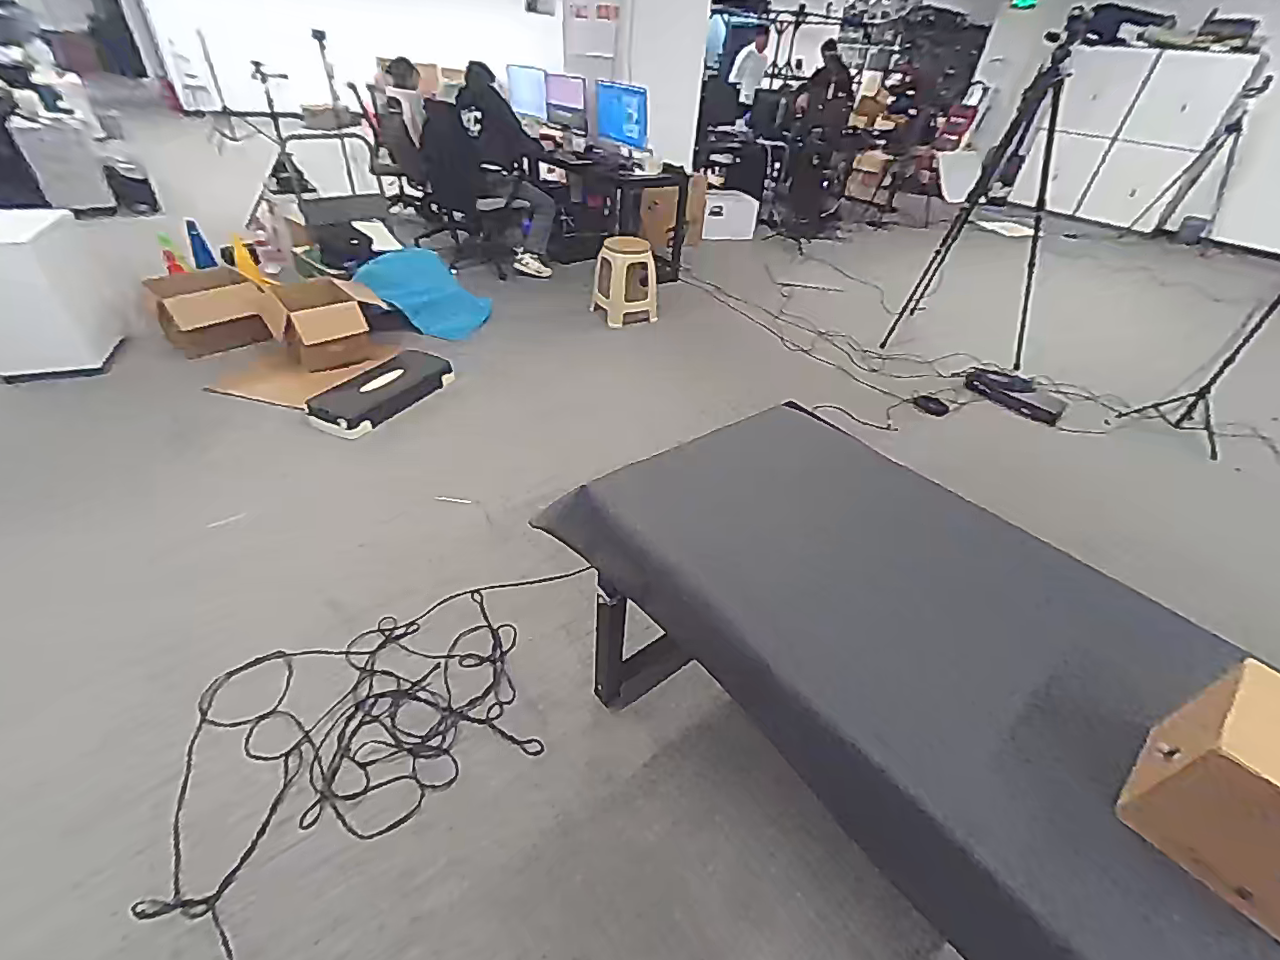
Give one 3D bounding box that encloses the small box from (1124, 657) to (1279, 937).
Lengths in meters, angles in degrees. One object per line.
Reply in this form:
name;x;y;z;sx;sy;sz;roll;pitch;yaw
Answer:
small box;0.669;0.334;0.571;0.179;0.176;0.168;-24;47;-33
